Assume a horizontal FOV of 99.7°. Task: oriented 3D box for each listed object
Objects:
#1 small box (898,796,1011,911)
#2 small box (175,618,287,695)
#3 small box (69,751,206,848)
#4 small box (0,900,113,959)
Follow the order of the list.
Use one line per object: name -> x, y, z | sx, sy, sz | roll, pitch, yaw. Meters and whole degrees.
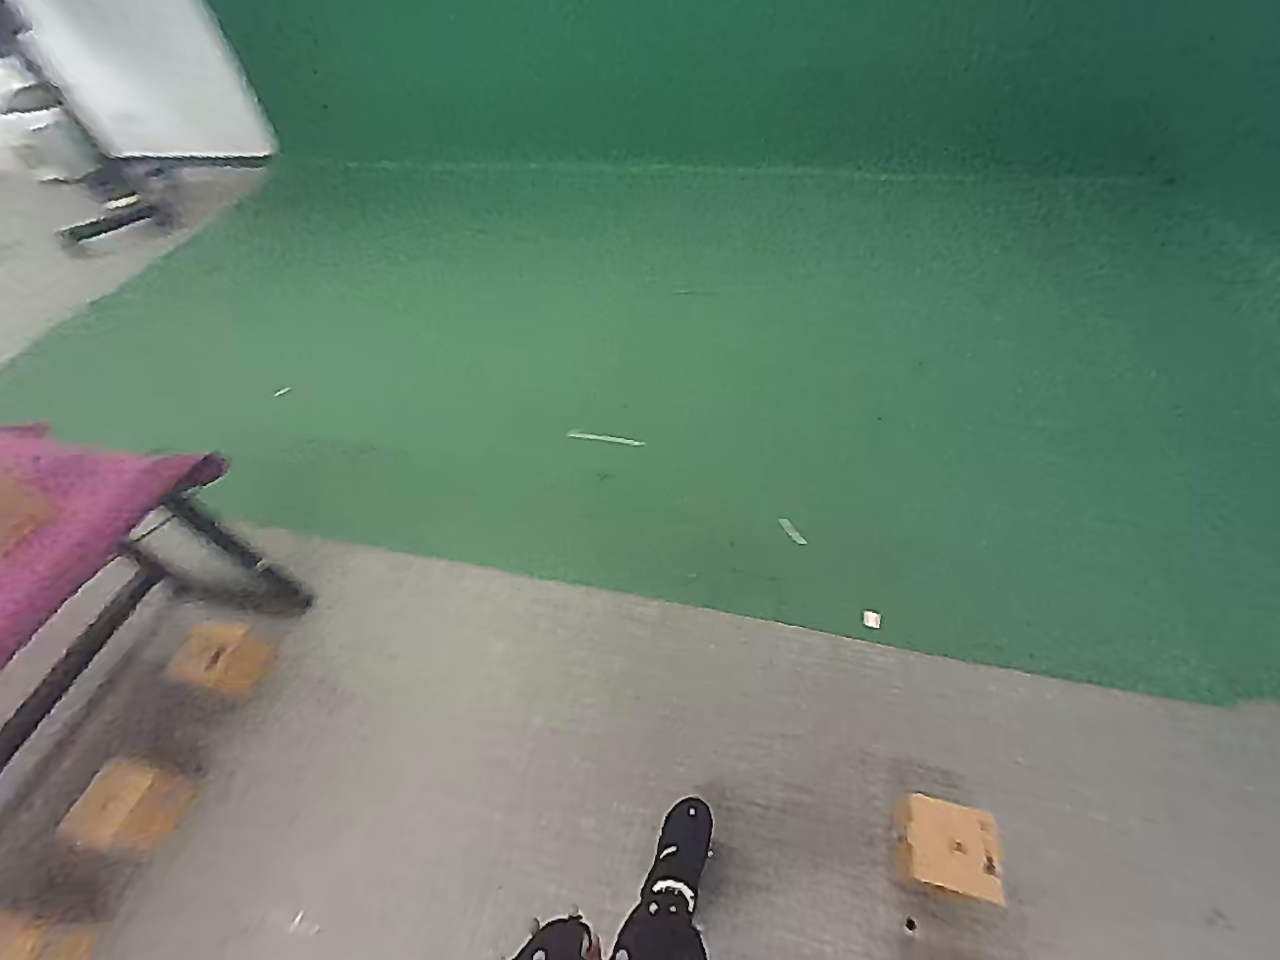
small box -> 0.683, 0.829, 1.198 | 0.179, 0.176, 0.168 | 10, 54, 14
small box -> -1.242, 0.546, 1.660 | 0.179, 0.176, 0.168 | 5, 52, 12
small box -> -1.309, 0.847, 1.431 | 0.168, 0.176, 0.179 | 8, 54, 14
small box -> -1.398, 1.098, 1.244 | 0.168, 0.176, 0.179 | 7, 53, 12
